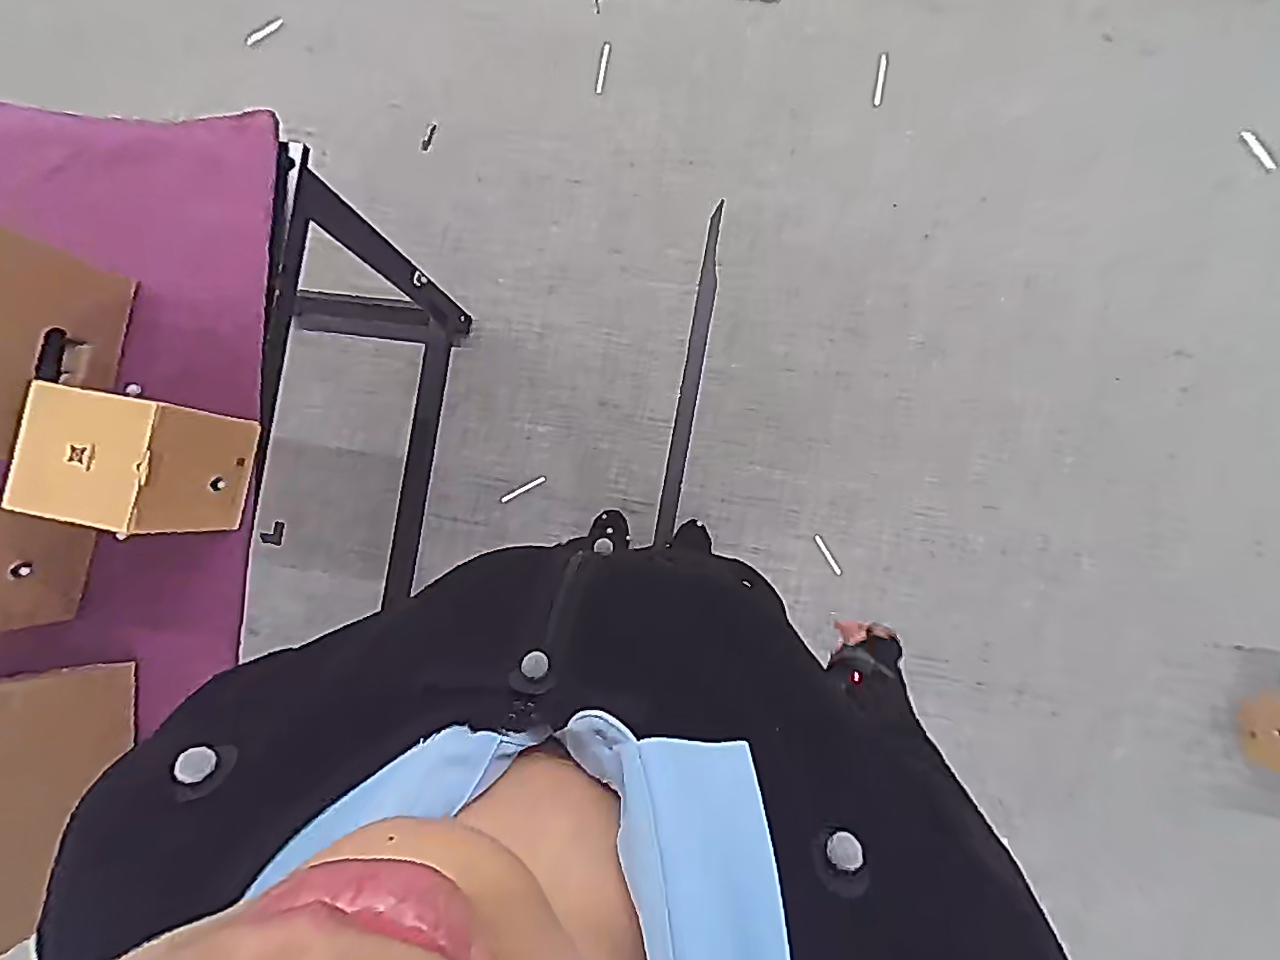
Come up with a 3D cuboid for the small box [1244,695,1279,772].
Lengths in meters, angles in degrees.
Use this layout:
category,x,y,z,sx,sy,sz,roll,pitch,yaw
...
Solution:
category,x,y,z,sx,sy,sz,roll,pitch,yaw
small box,1.594,0.621,1.271,0.179,0.176,0.168,7,86,4
